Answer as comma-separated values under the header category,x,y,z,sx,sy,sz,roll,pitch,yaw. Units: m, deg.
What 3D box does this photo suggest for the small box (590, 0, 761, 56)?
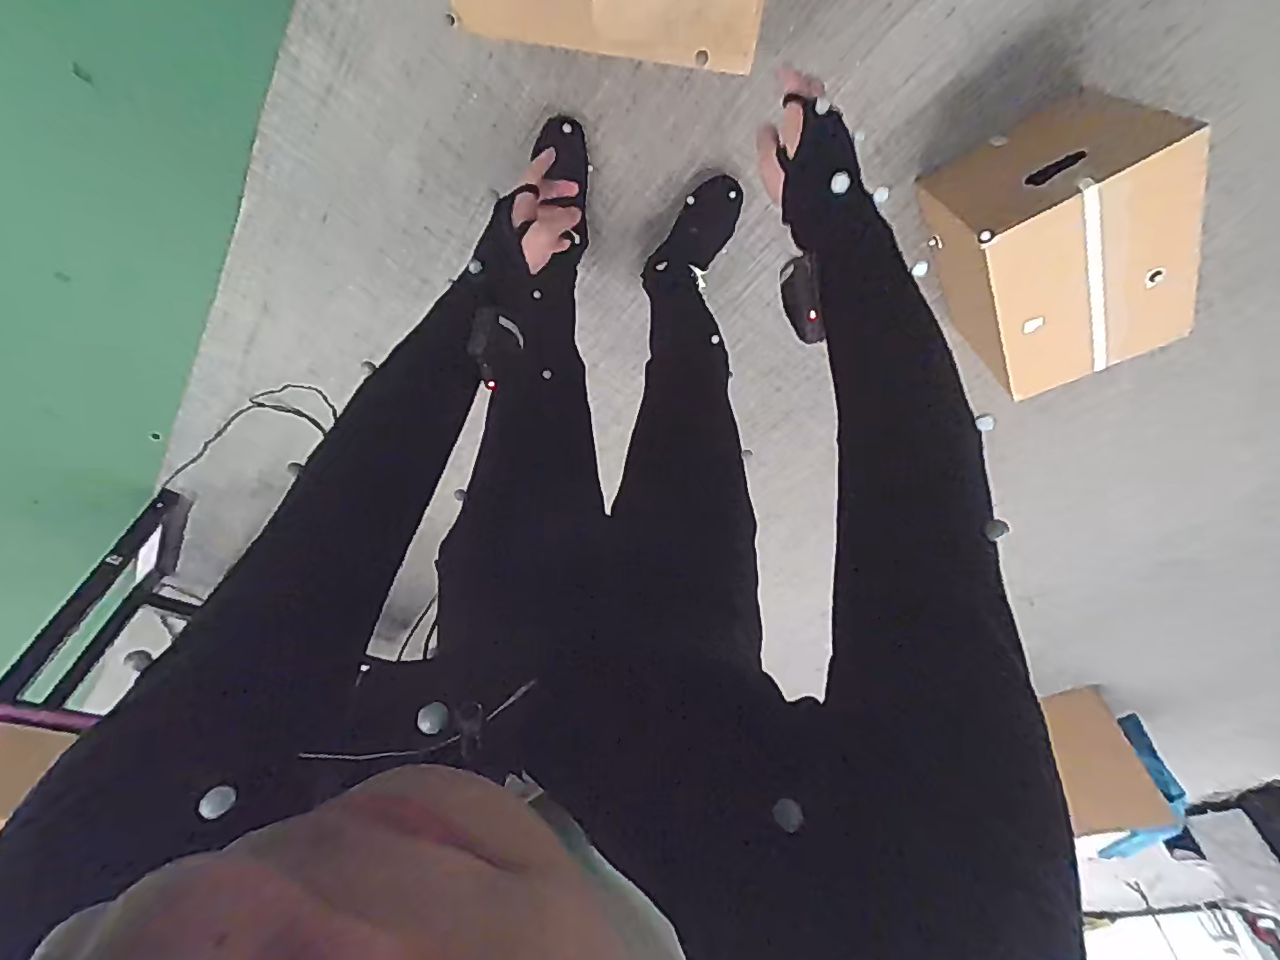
category,x,y,z,sx,sy,sz,roll,pitch,yaw
small box,0.042,-0.581,0.578,0.179,0.176,0.168,4,135,-4

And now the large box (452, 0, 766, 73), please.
category,x,y,z,sx,sy,sz,roll,pitch,yaw
large box,-0.028,-0.783,0.726,0.408,0.320,0.320,5,133,-4
